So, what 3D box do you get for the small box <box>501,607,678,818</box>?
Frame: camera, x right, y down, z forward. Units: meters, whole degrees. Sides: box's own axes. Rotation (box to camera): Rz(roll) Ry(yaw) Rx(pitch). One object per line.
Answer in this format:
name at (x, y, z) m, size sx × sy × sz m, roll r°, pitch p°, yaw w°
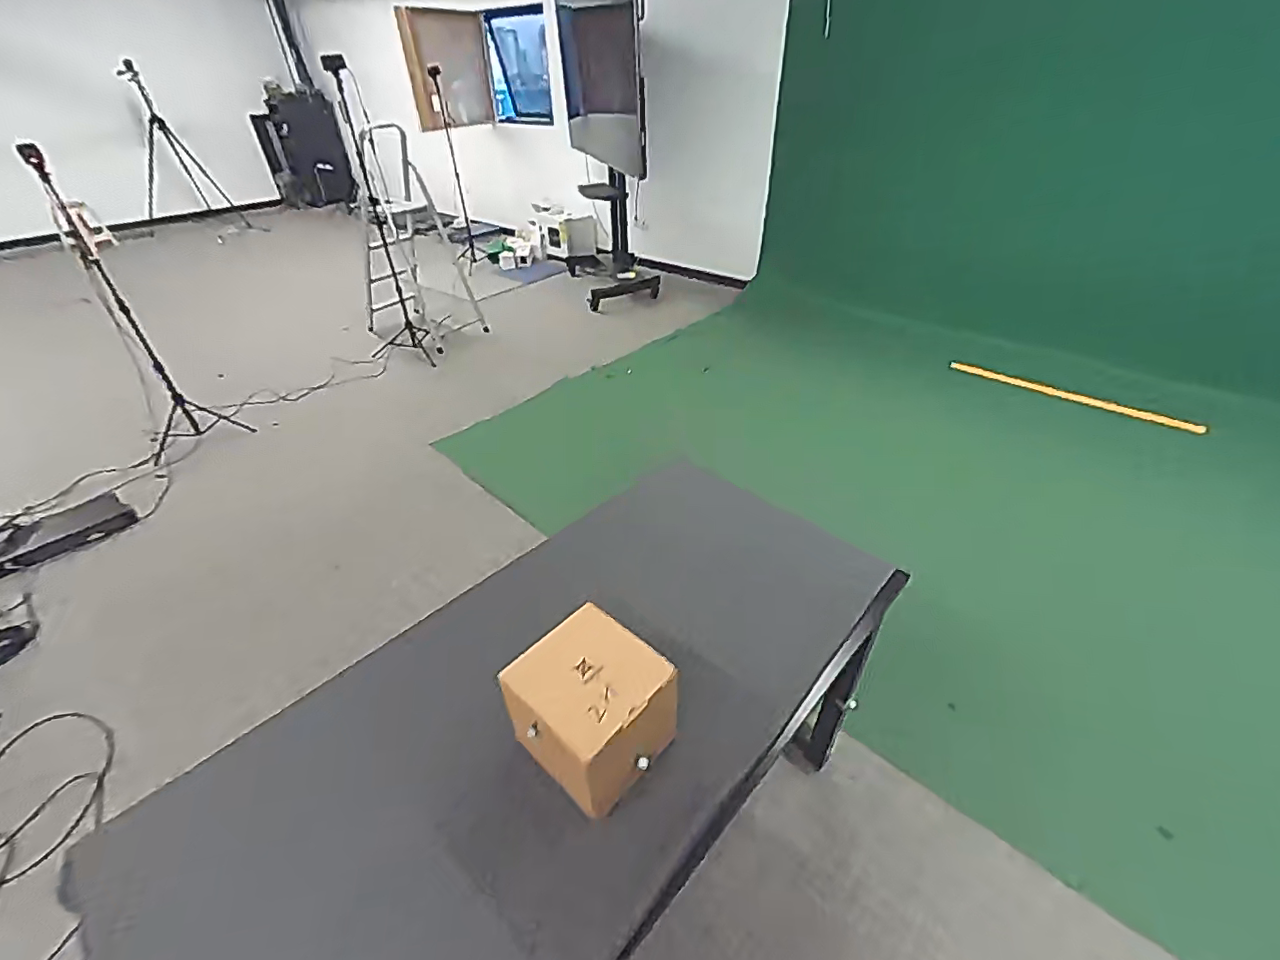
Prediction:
small box at (-0.066, 0.320, 0.752) m, size 0.179 × 0.176 × 0.168 m, roll 28°, pitch 46°, yaw 34°
